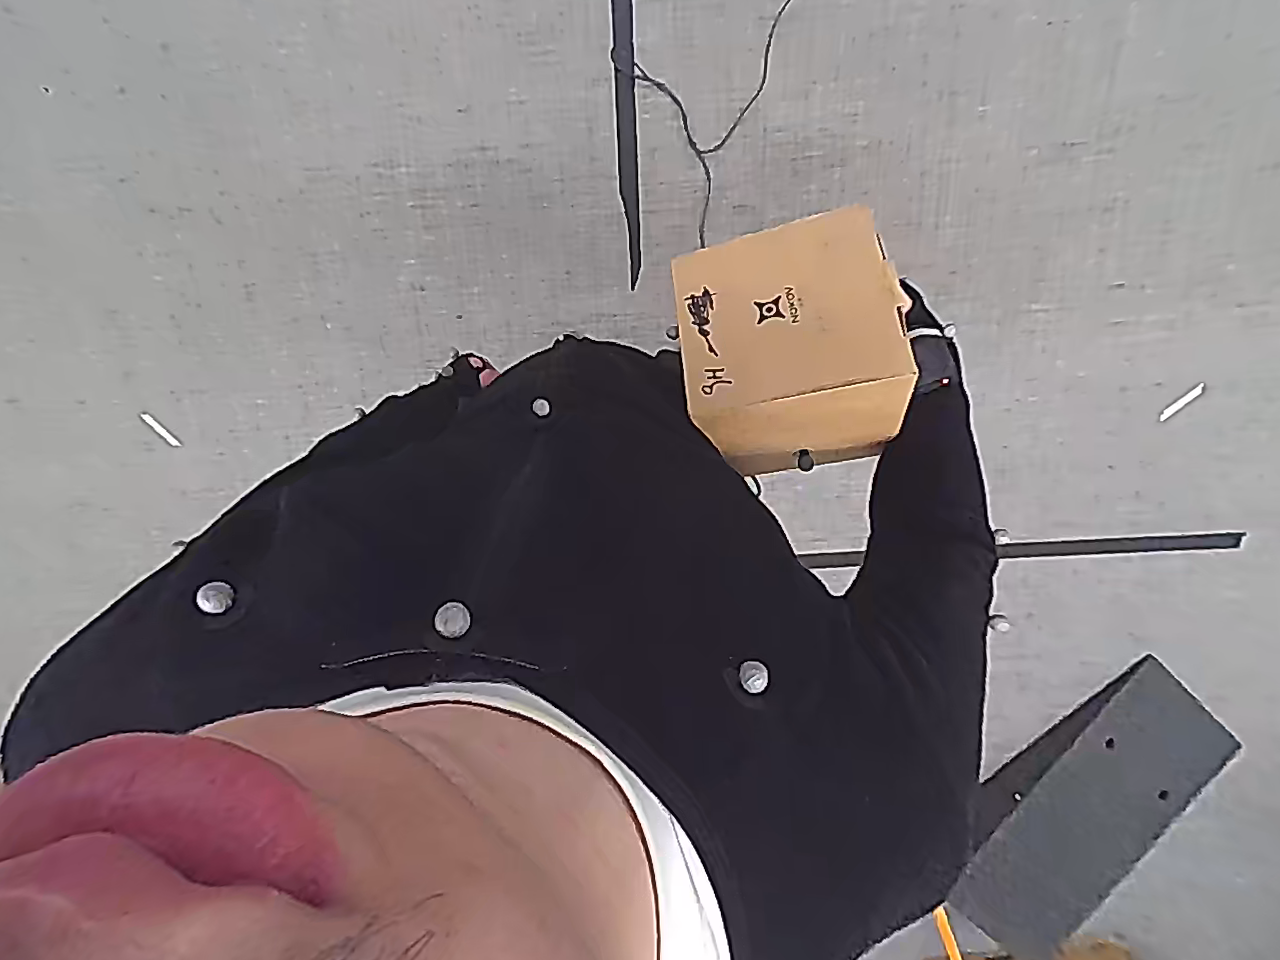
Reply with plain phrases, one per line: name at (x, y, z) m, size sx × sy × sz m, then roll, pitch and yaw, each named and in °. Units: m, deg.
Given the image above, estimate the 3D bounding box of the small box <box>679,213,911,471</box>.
small box at (0.144, -0.119, 0.535) m, size 0.179 × 0.176 × 0.168 m, roll -9°, pitch 68°, yaw 14°
